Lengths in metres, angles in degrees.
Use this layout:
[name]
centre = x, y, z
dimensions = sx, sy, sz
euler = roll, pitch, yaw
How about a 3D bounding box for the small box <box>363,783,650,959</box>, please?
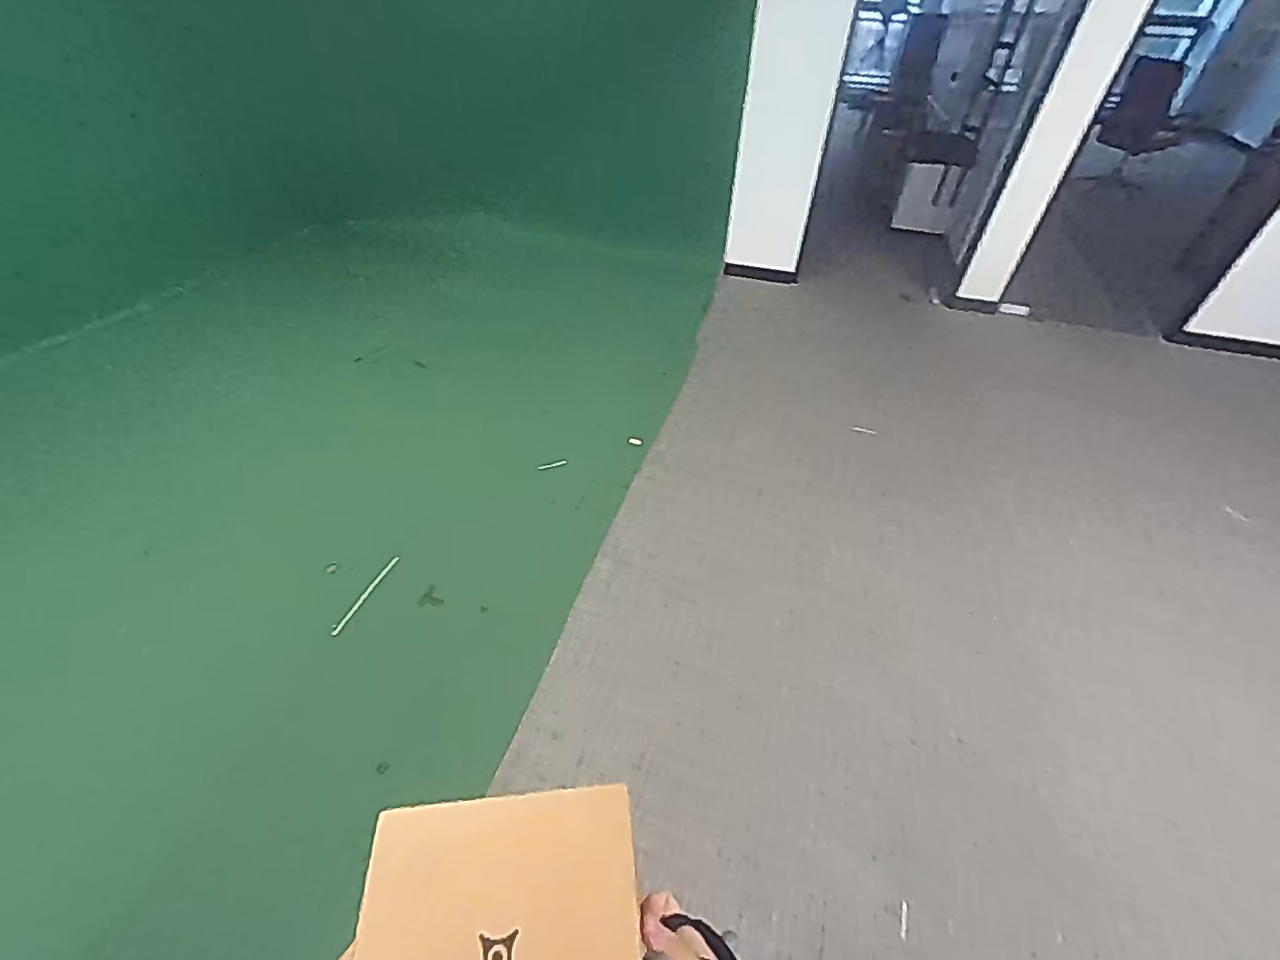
[small box]
centre = -0.078, 0.331, 0.367
dimensions = 0.168, 0.176, 0.179
euler = -3, 47, -4
